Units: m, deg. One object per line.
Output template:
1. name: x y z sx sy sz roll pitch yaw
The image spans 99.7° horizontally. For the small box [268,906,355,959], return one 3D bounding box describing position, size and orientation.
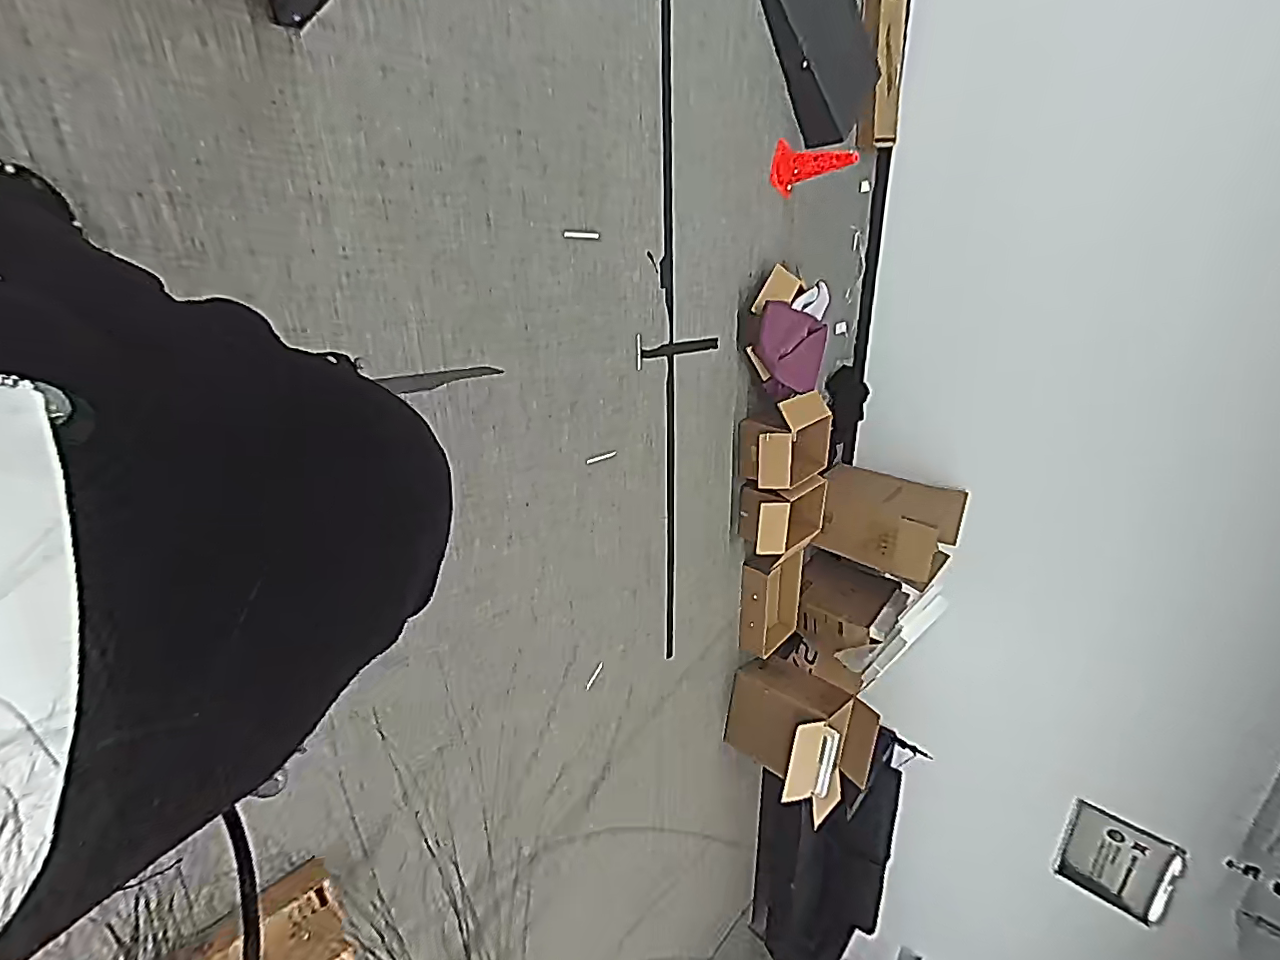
1. small box: -0.912 1.362 1.517 0.168 0.176 0.179 -22 120 -42
